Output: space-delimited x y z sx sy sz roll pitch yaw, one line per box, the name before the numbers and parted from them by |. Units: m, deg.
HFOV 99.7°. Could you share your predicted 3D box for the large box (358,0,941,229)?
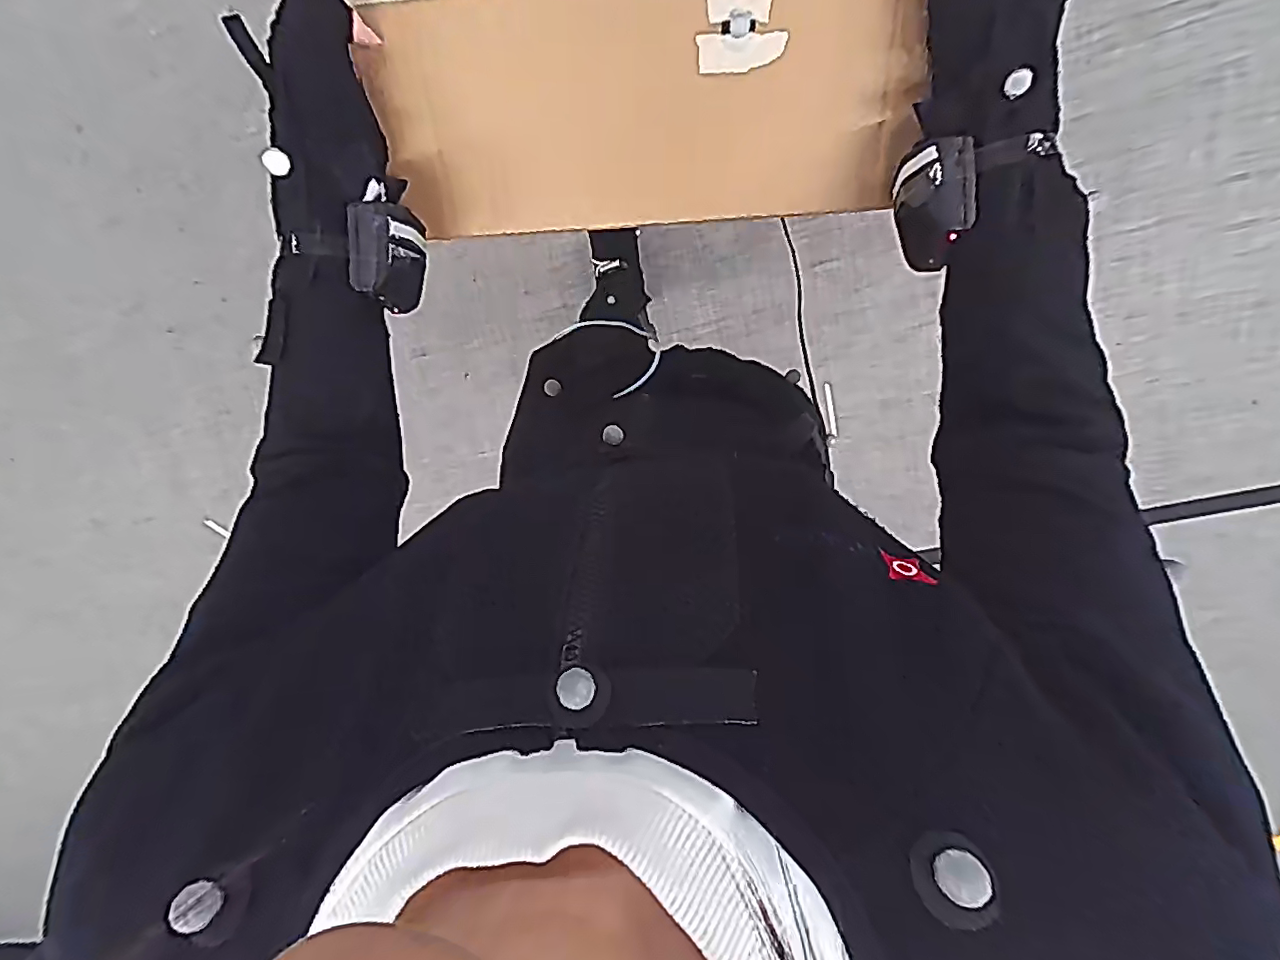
large box | 0.007 -0.417 0.488 0.408 0.320 0.320 -2 117 5
